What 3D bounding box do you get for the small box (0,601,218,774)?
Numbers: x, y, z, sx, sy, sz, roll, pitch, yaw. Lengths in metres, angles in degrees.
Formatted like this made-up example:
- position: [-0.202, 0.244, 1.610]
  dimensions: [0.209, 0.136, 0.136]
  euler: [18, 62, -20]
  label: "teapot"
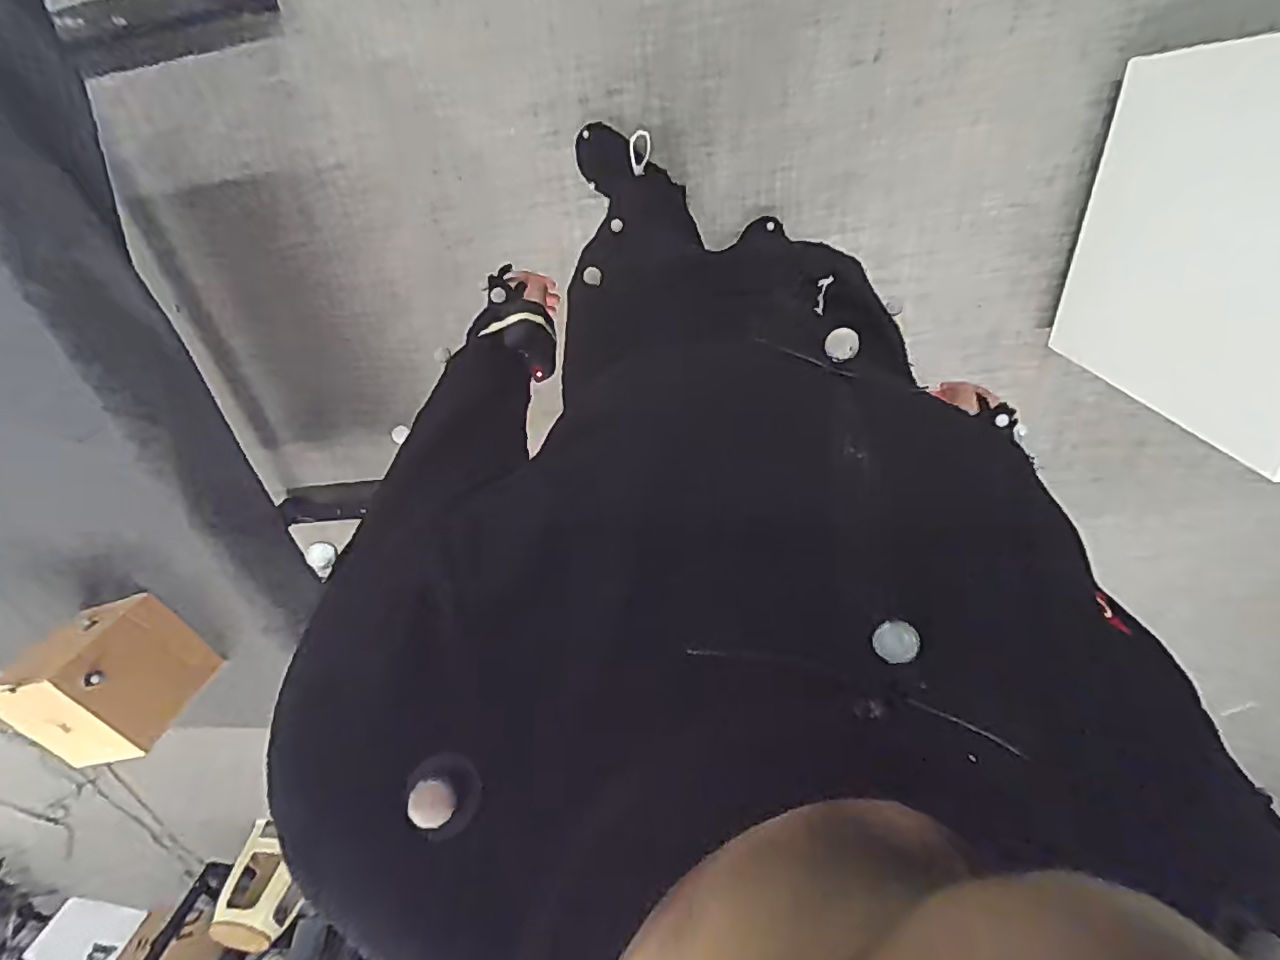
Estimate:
- position: [-0.813, 0.314, 0.825]
  dimensions: [0.168, 0.176, 0.179]
  euler: [-16, 118, 15]
  label: "small box"
